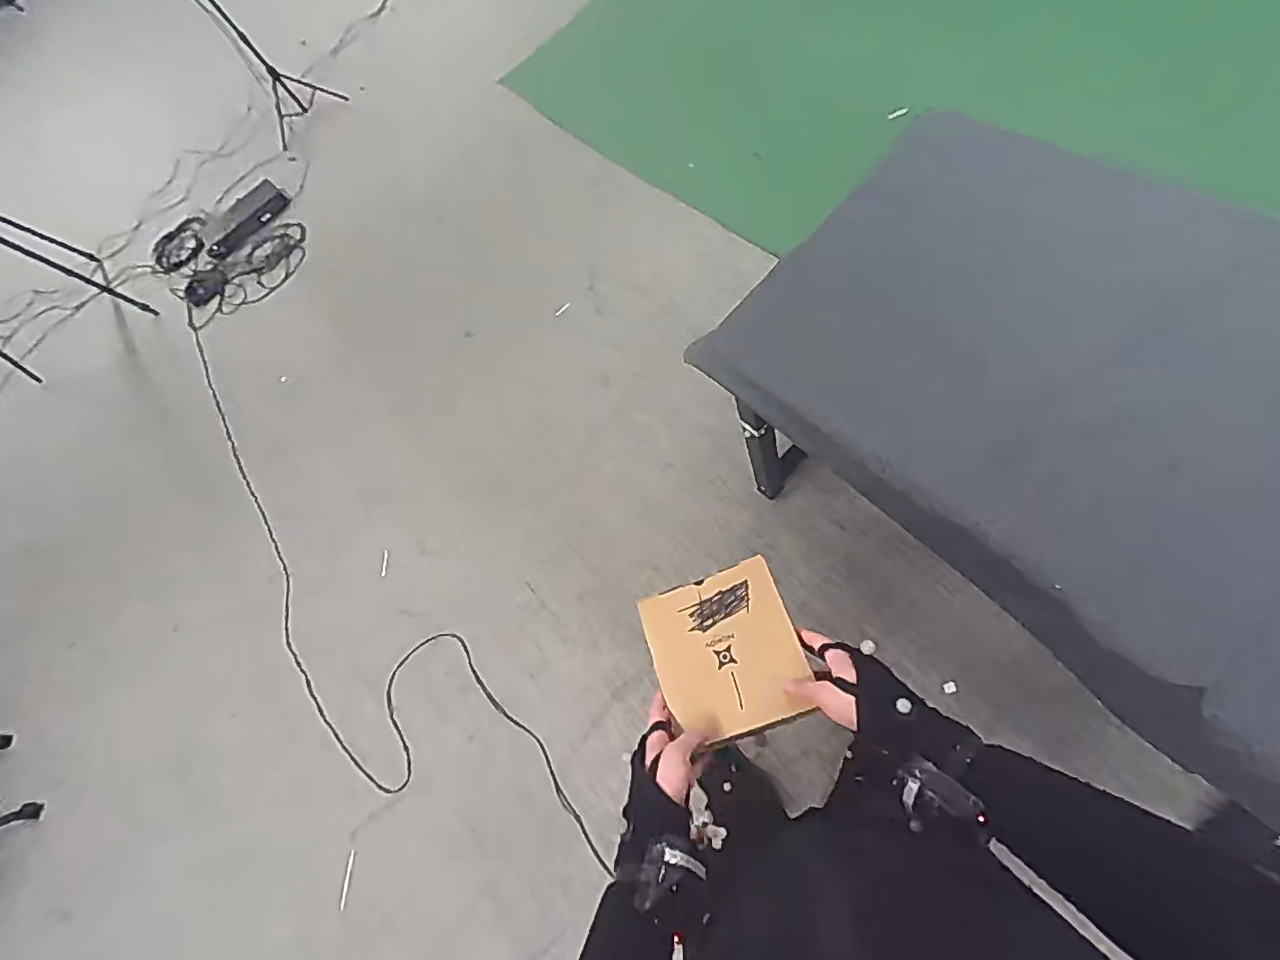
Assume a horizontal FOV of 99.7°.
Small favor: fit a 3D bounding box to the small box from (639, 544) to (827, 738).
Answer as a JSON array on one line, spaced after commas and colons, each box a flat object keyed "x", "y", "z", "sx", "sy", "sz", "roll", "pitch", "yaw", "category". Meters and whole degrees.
[{"x": 0.116, "y": 0.207, "z": 0.669, "sx": 0.168, "sy": 0.176, "sz": 0.179, "roll": -22, "pitch": 61, "yaw": 8, "category": "small box"}]
